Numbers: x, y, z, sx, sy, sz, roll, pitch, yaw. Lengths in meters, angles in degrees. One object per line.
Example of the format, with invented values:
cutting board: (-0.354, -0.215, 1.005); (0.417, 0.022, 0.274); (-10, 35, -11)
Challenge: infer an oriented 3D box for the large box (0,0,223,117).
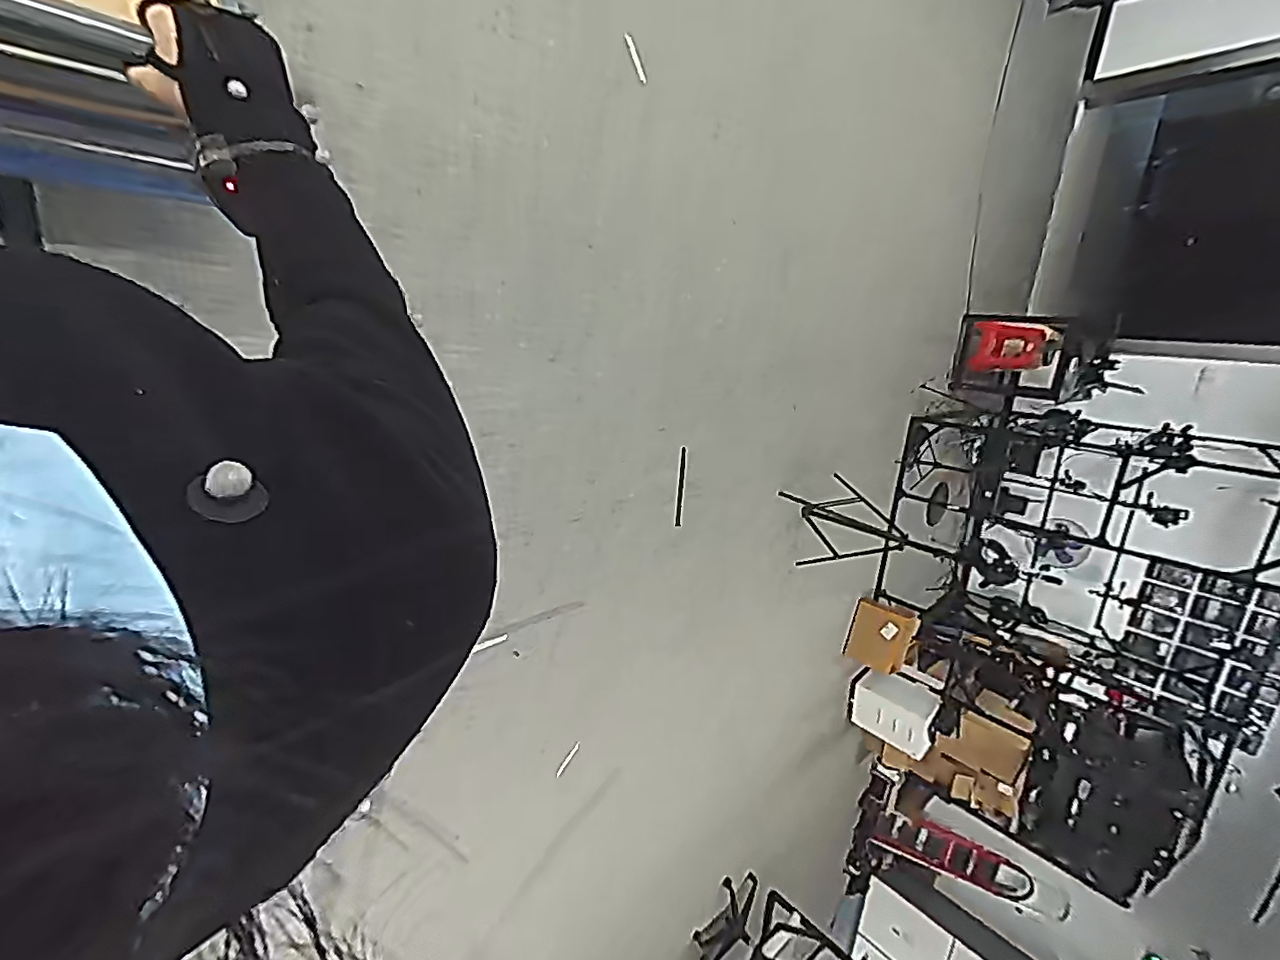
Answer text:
large box: (-0.824, -0.704, 0.674); (0.408, 0.320, 0.320); (-16, 115, -42)
